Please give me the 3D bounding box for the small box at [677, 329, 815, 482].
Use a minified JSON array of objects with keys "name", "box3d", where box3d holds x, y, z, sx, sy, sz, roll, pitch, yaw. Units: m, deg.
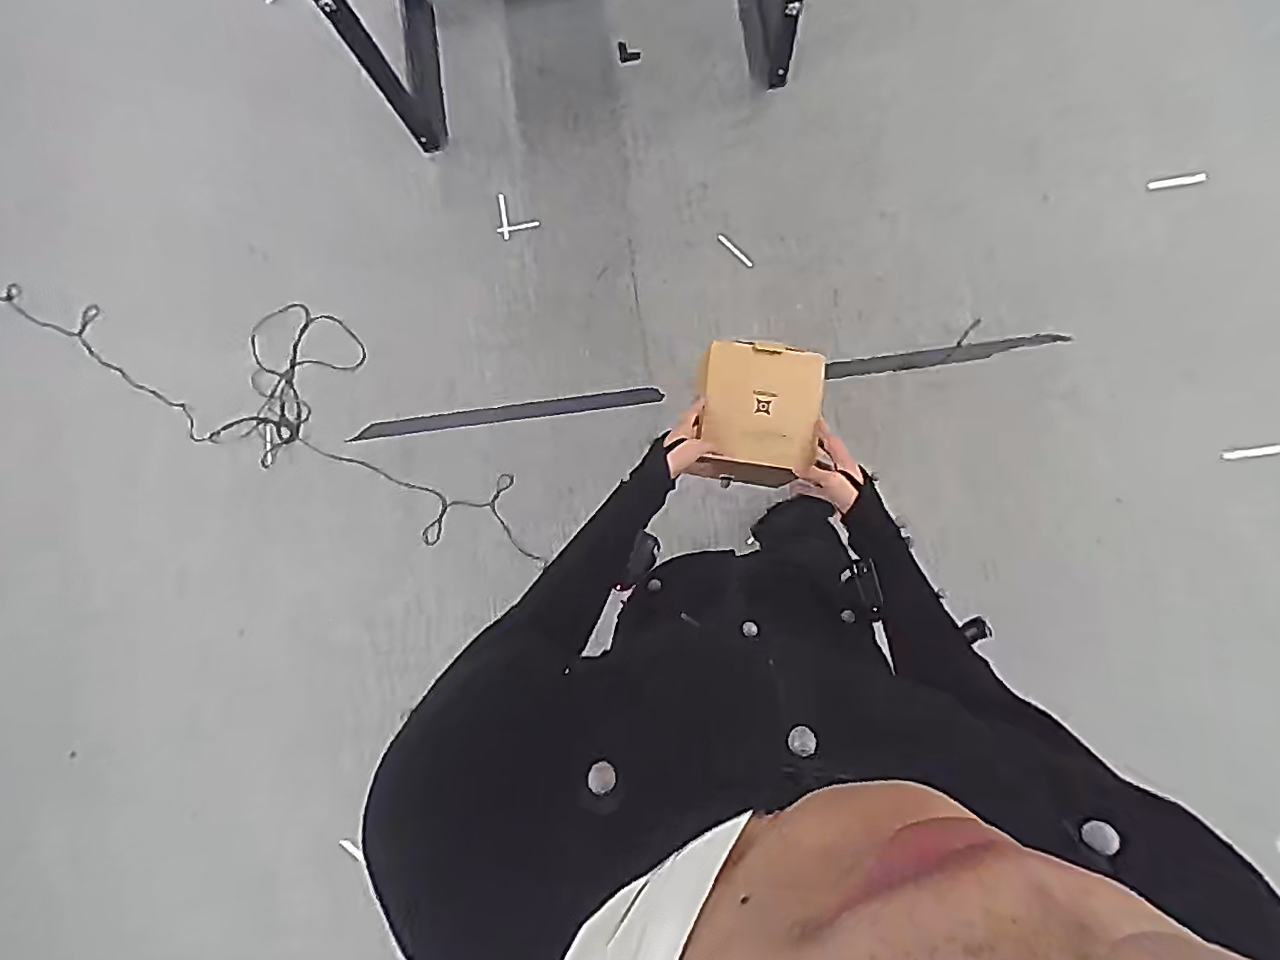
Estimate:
[{"name":"small box","box3d":[0.152,-0.103,0.817,0.168,0.176,0.179,6,80,-2]}]
